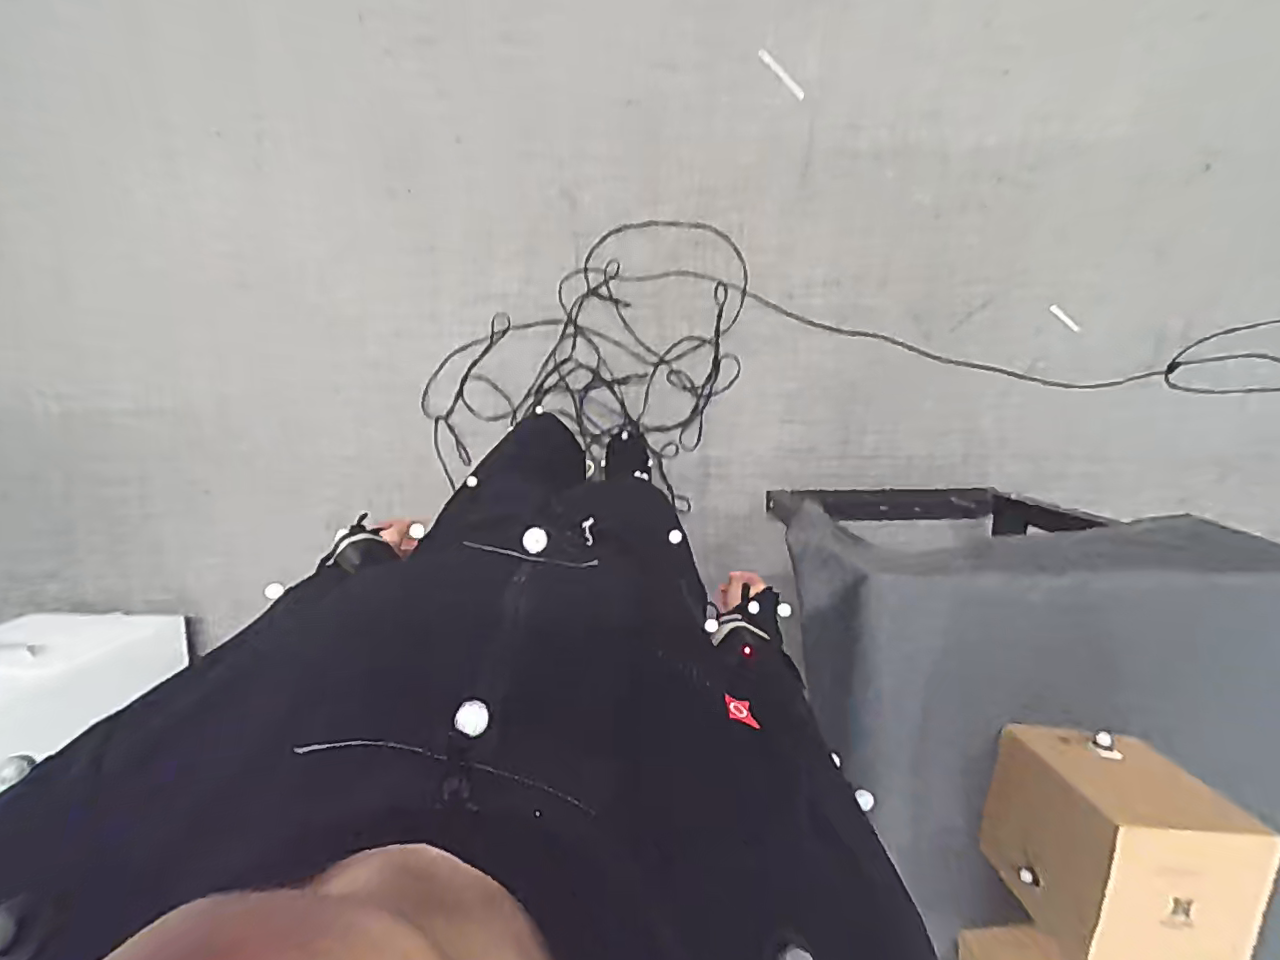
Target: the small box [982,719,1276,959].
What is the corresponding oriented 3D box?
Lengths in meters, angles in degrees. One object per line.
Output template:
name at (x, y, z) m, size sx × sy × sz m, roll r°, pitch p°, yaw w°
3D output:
small box at (0.525, 0.402, 0.611) m, size 0.168 × 0.176 × 0.179 m, roll 4°, pitch 98°, yaw -2°
